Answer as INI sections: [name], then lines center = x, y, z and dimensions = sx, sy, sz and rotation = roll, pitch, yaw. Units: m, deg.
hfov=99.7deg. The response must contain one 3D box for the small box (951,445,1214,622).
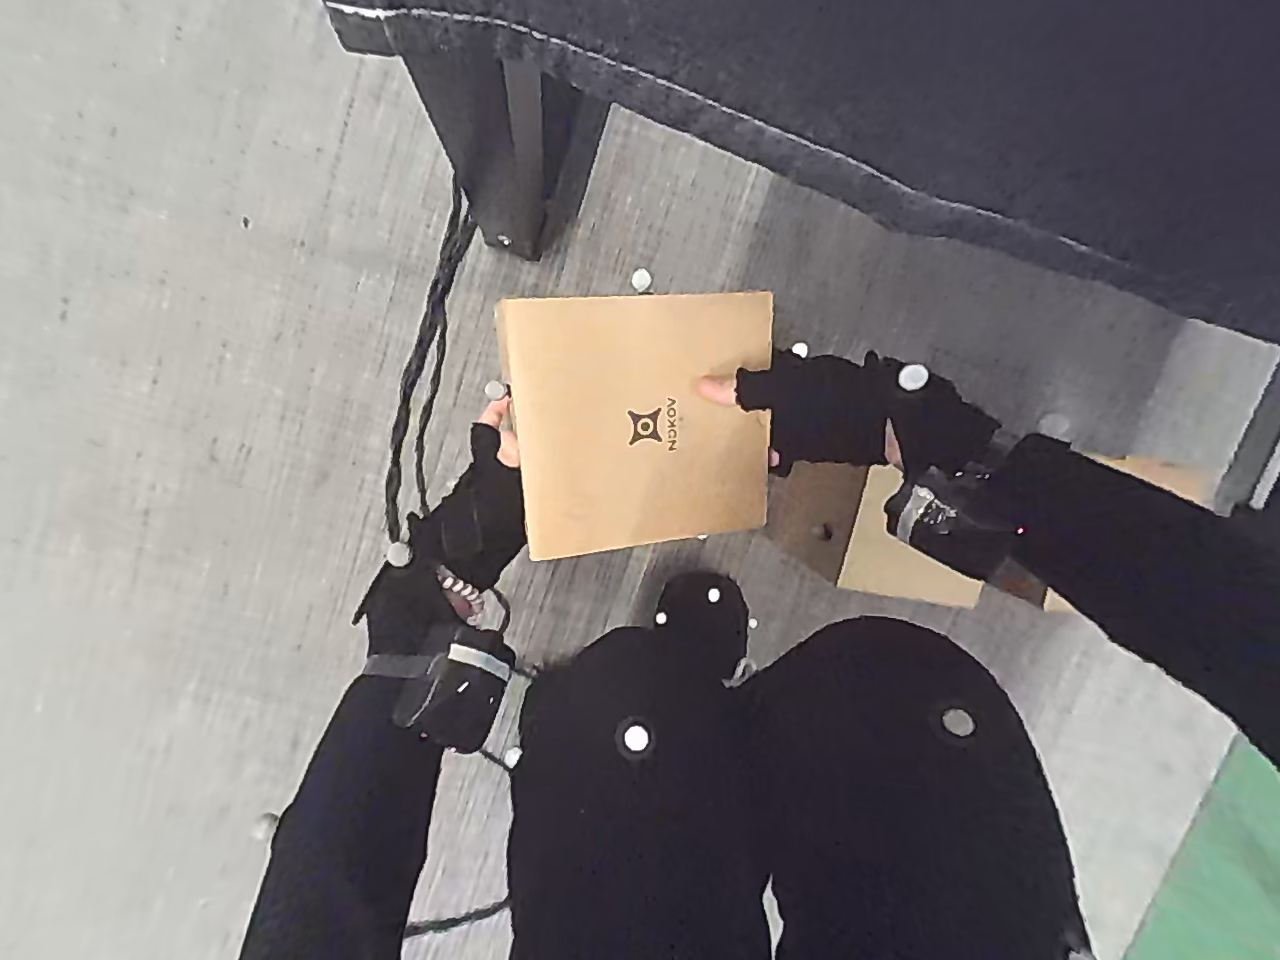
[small box]
center = 0.515, 0.055, 0.656
dimensions = 0.168, 0.176, 0.179
rotation = 5, 98, -11
